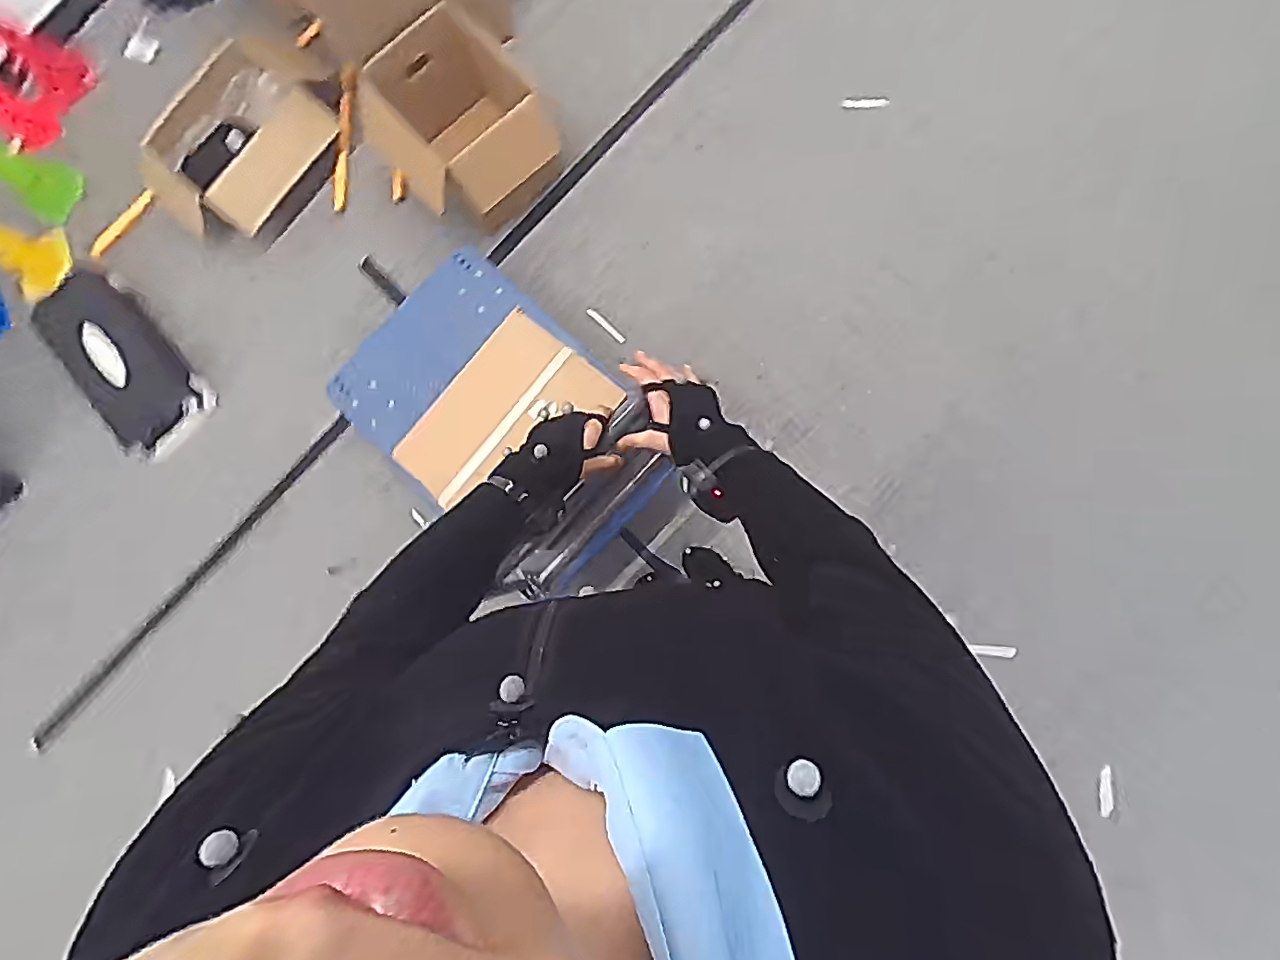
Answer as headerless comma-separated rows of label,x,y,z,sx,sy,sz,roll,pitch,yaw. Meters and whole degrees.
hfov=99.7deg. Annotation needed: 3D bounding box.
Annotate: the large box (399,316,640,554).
large box,-0.251,-0.079,1.249,0.320,0.320,0.408,38,86,10
